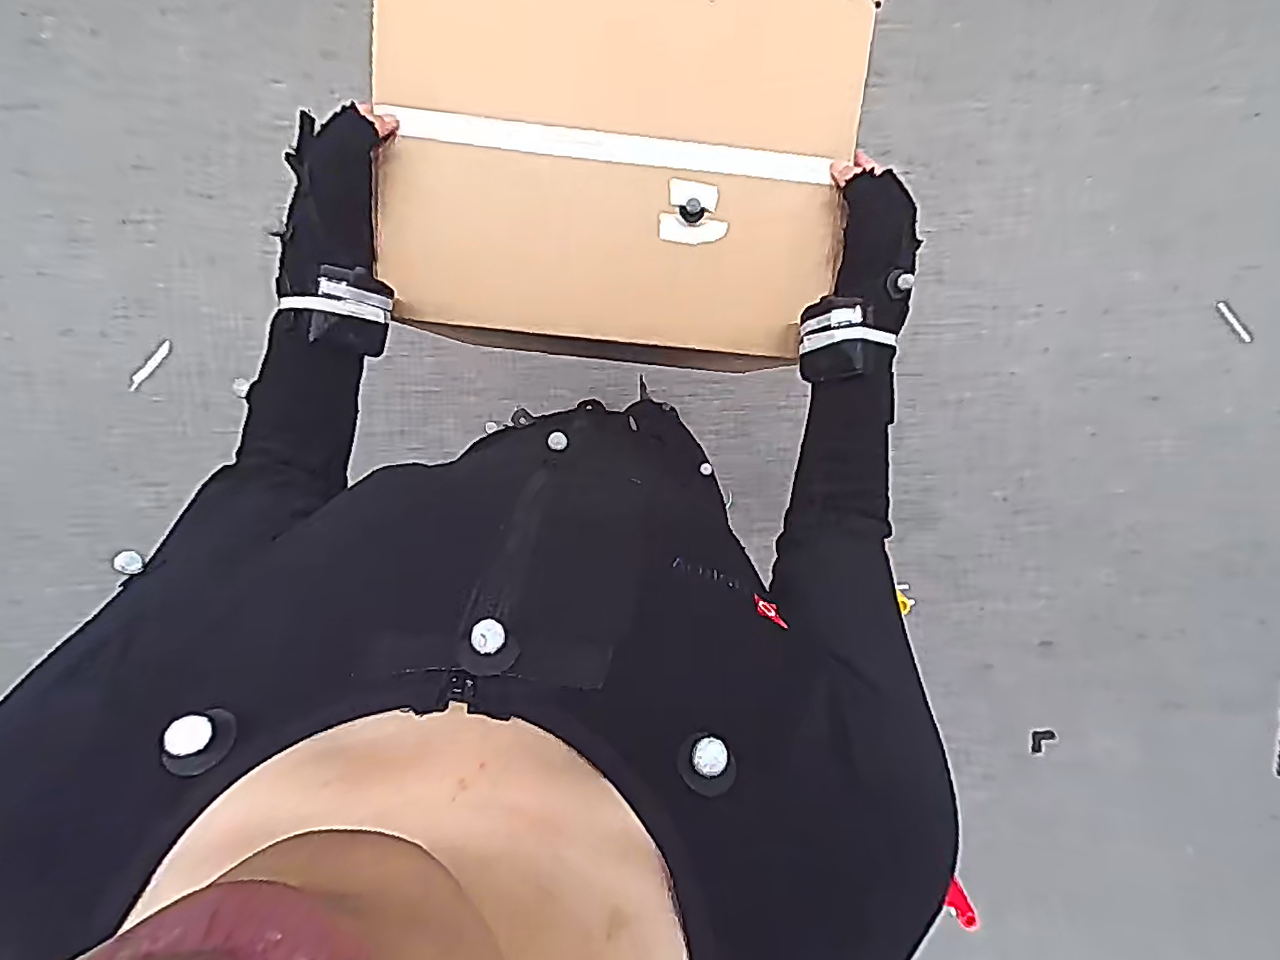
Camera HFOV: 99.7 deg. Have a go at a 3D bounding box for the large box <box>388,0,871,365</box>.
[{"bbox_3d":[-0.022,-0.308,0.609,0.408,0.320,0.320,4,99,-4],"label":"large box"}]
